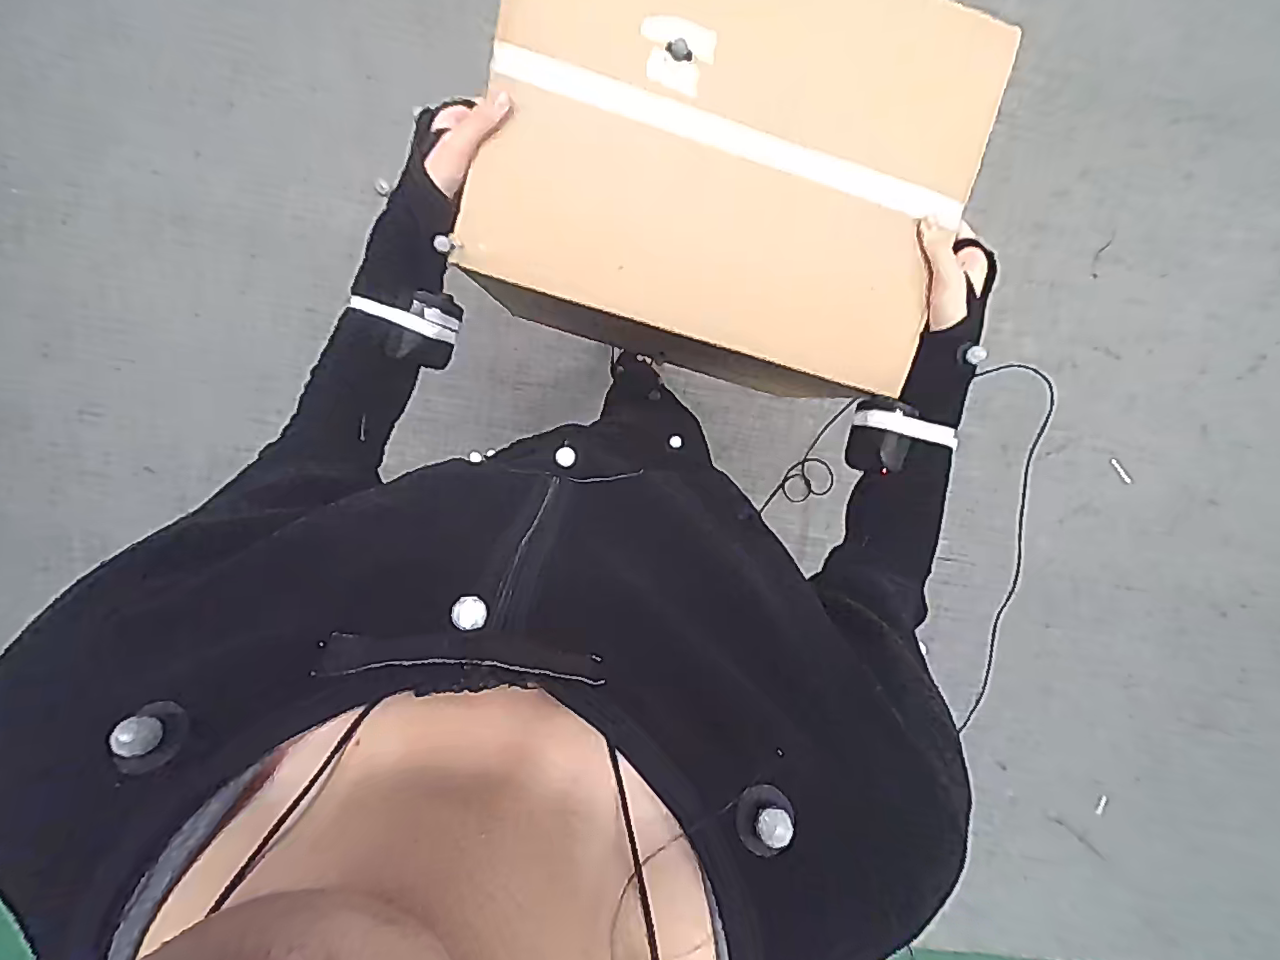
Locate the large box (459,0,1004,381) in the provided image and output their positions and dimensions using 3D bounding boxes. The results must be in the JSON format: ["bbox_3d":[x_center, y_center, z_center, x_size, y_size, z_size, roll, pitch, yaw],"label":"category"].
[{"bbox_3d":[0.069,-0.310,0.601,0.408,0.320,0.320,16,98,-6],"label":"large box"}]
